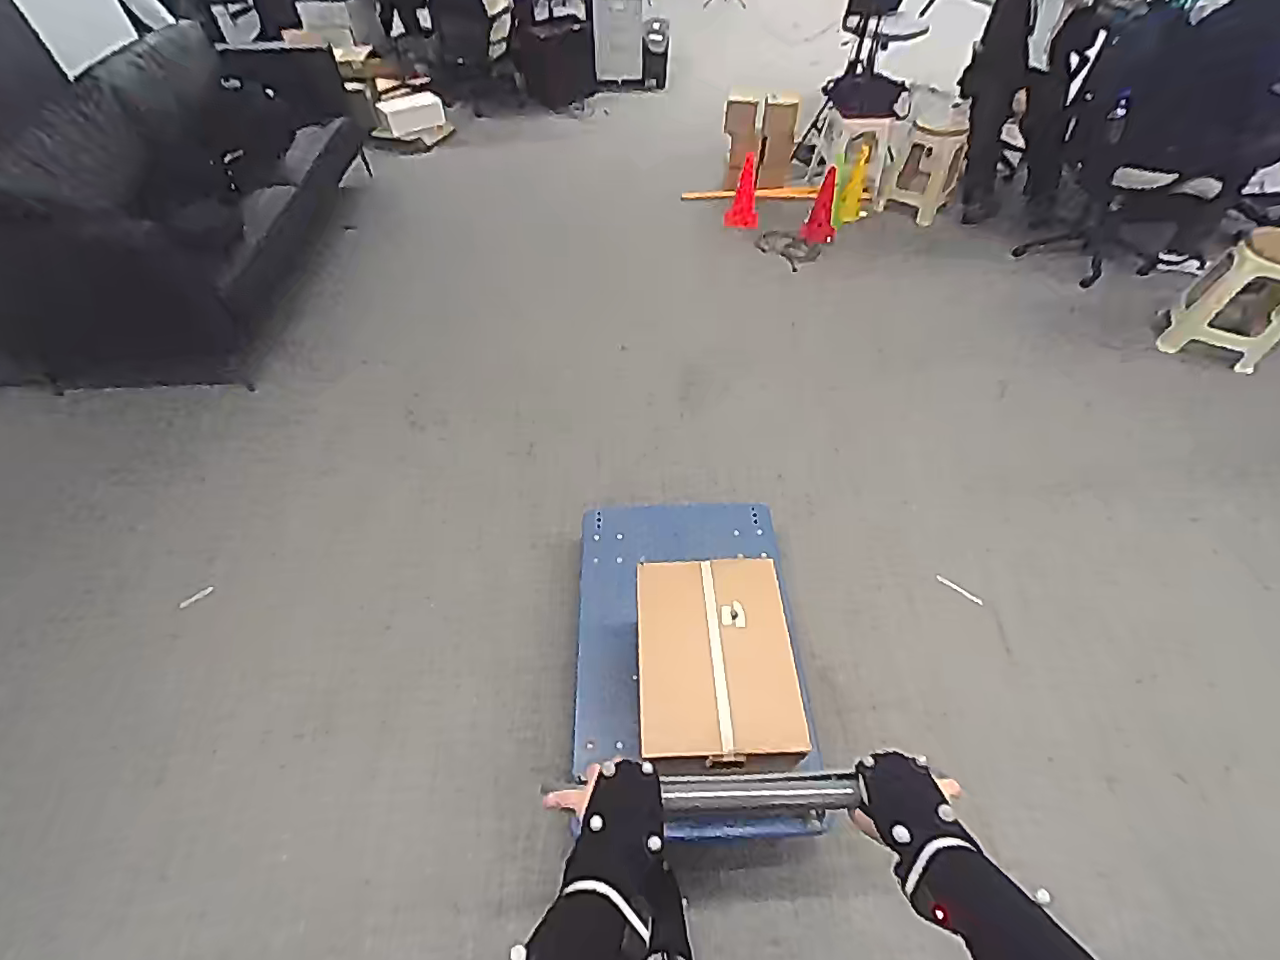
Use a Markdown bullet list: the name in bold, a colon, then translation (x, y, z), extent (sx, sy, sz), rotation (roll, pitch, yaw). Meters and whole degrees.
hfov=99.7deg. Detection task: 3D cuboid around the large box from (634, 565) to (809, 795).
- **large box**: translation (0.153, 0.450, 1.225), extent (0.320, 0.320, 0.408), rotation (-2, 50, -1)
